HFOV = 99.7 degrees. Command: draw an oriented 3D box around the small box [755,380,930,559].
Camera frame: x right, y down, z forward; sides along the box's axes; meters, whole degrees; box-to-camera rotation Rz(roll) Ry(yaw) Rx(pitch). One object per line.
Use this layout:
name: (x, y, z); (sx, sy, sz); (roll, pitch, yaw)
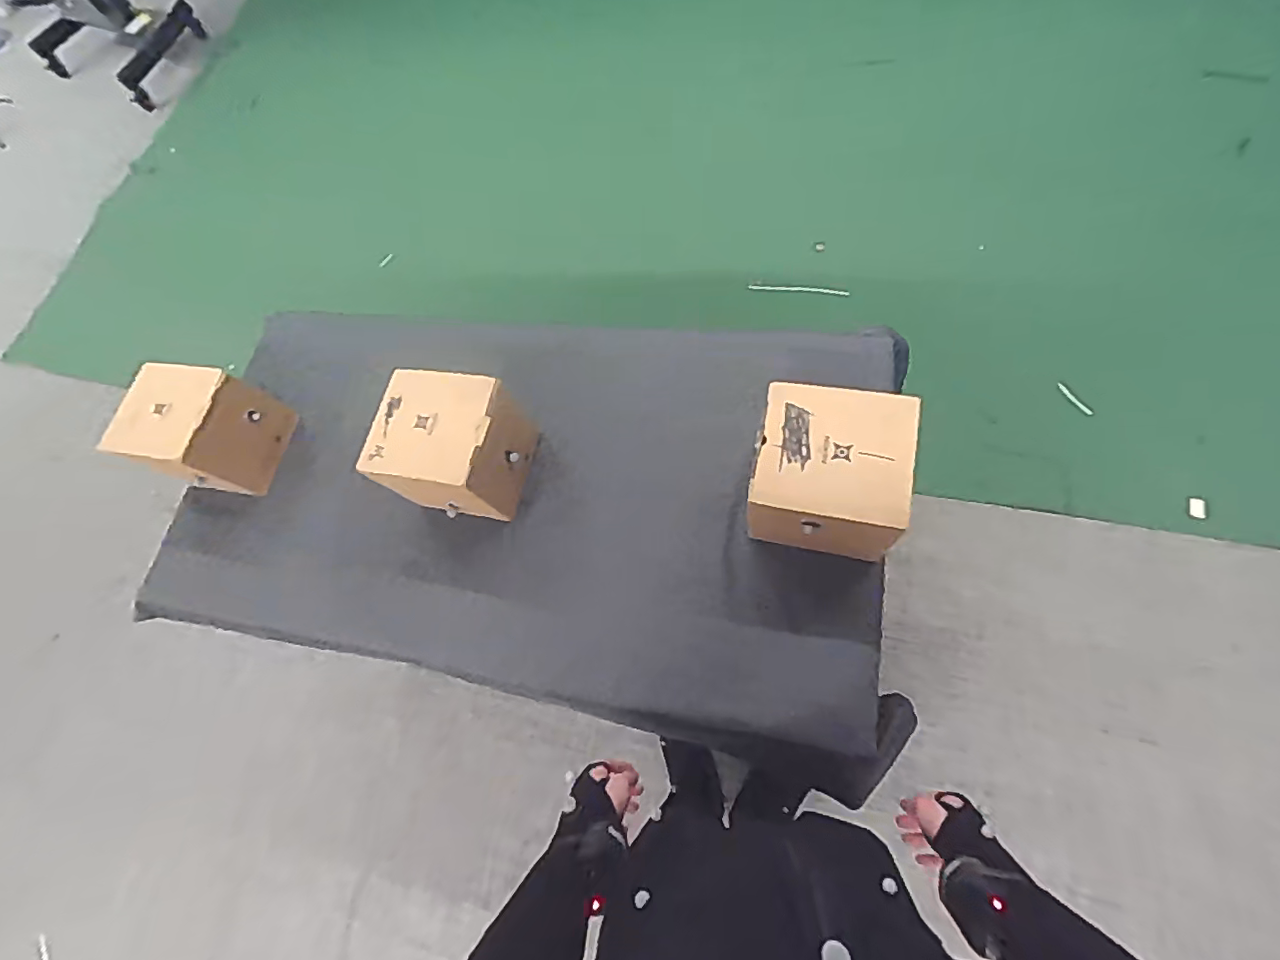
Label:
small box: (0.249, -0.007, 0.699); (0.179, 0.176, 0.168); (11, 71, 13)

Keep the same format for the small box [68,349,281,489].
small box: (-0.749, -0.094, 0.894); (0.179, 0.176, 0.168); (6, 68, 12)

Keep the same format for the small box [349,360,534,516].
small box: (-0.278, -0.055, 0.804); (0.179, 0.176, 0.168); (9, 70, 12)
